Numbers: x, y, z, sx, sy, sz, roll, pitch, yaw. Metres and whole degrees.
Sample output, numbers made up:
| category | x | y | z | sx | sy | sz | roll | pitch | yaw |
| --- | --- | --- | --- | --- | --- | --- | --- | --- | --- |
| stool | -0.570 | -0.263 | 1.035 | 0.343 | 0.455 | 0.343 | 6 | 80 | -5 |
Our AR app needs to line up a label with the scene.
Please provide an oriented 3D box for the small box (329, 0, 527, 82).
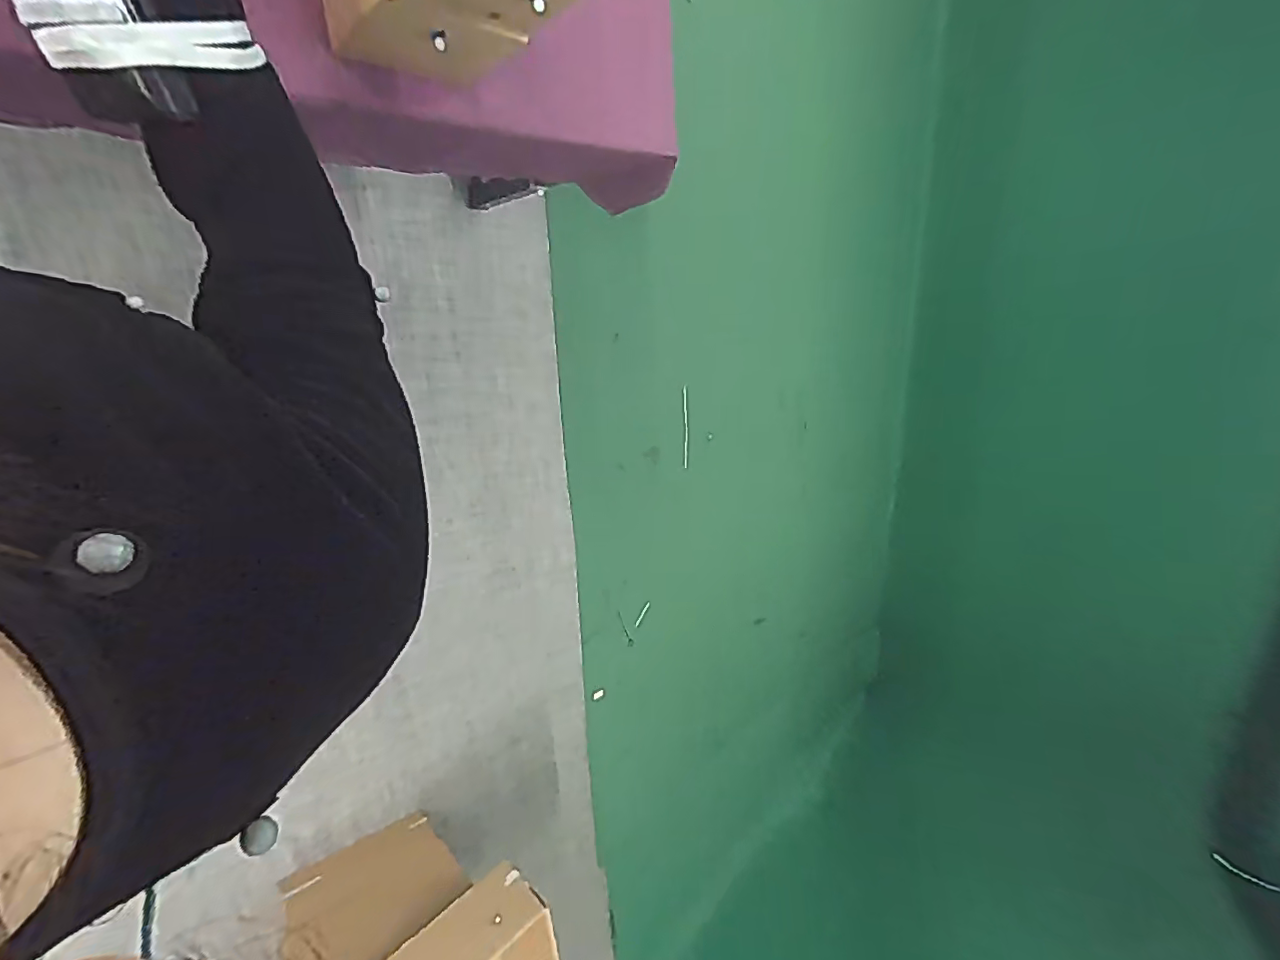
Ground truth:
| category | x | y | z | sx | sy | sz | roll | pitch | yaw |
| --- | --- | --- | --- | --- | --- | --- | --- | --- | --- |
| small box | -0.258 | -0.601 | 0.634 | 0.179 | 0.176 | 0.168 | -19 | 114 | -41 |

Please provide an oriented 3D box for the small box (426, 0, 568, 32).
| category | x | y | z | sx | sy | sz | roll | pitch | yaw |
| --- | --- | --- | --- | --- | --- | --- | --- | --- | --- |
| small box | -0.144 | -0.578 | 0.520 | 0.168 | 0.176 | 0.179 | -22 | 115 | -41 |
